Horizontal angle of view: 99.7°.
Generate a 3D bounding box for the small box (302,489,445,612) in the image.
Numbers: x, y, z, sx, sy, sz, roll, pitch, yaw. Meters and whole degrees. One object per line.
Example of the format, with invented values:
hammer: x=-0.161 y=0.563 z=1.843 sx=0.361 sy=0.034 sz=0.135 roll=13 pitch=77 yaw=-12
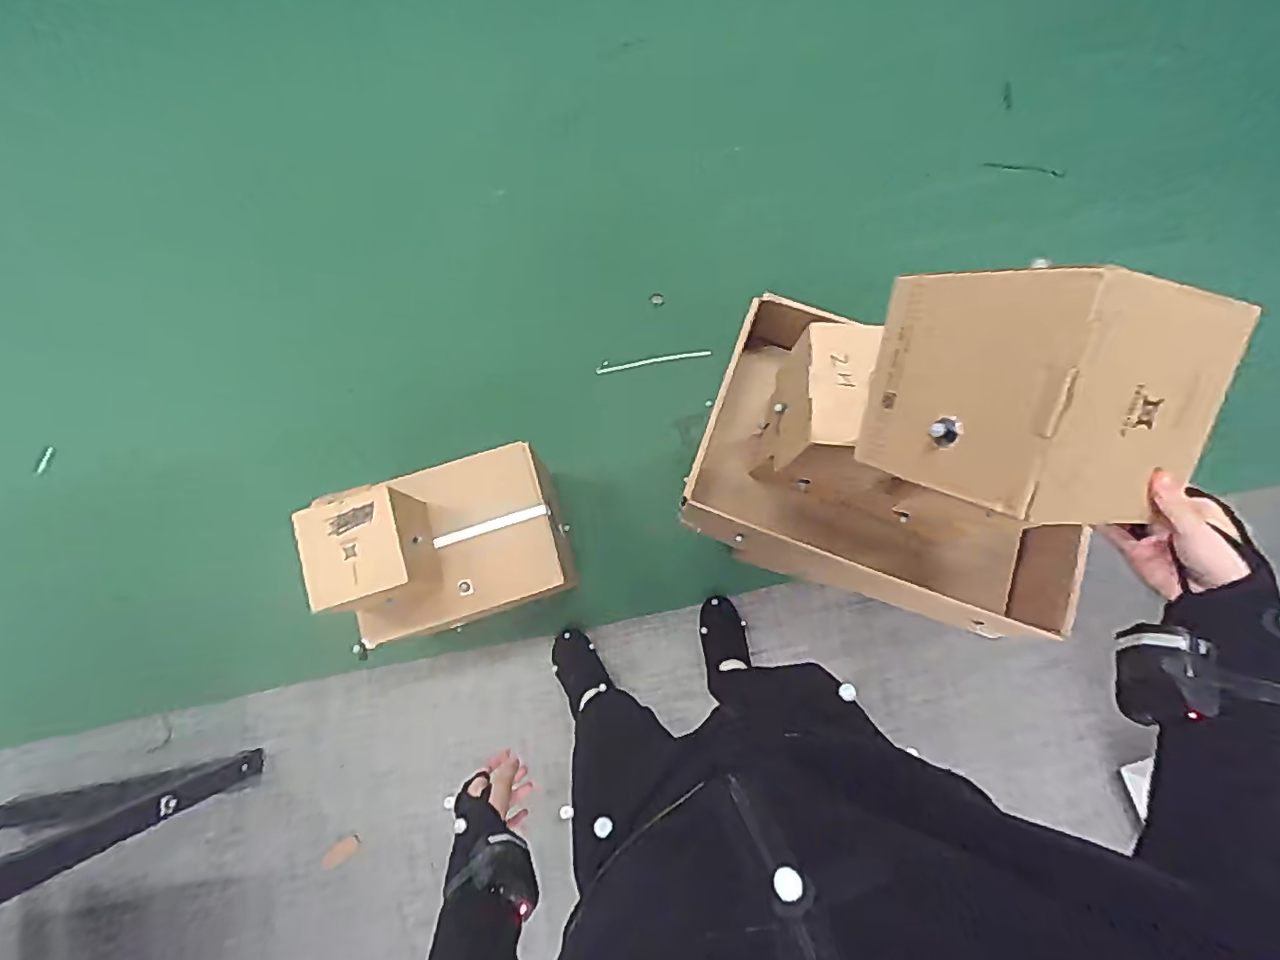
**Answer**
small box: x=-0.479 y=0.133 z=0.991 sx=0.168 sy=0.176 sz=0.179 roll=-17 pitch=79 yaw=-3
